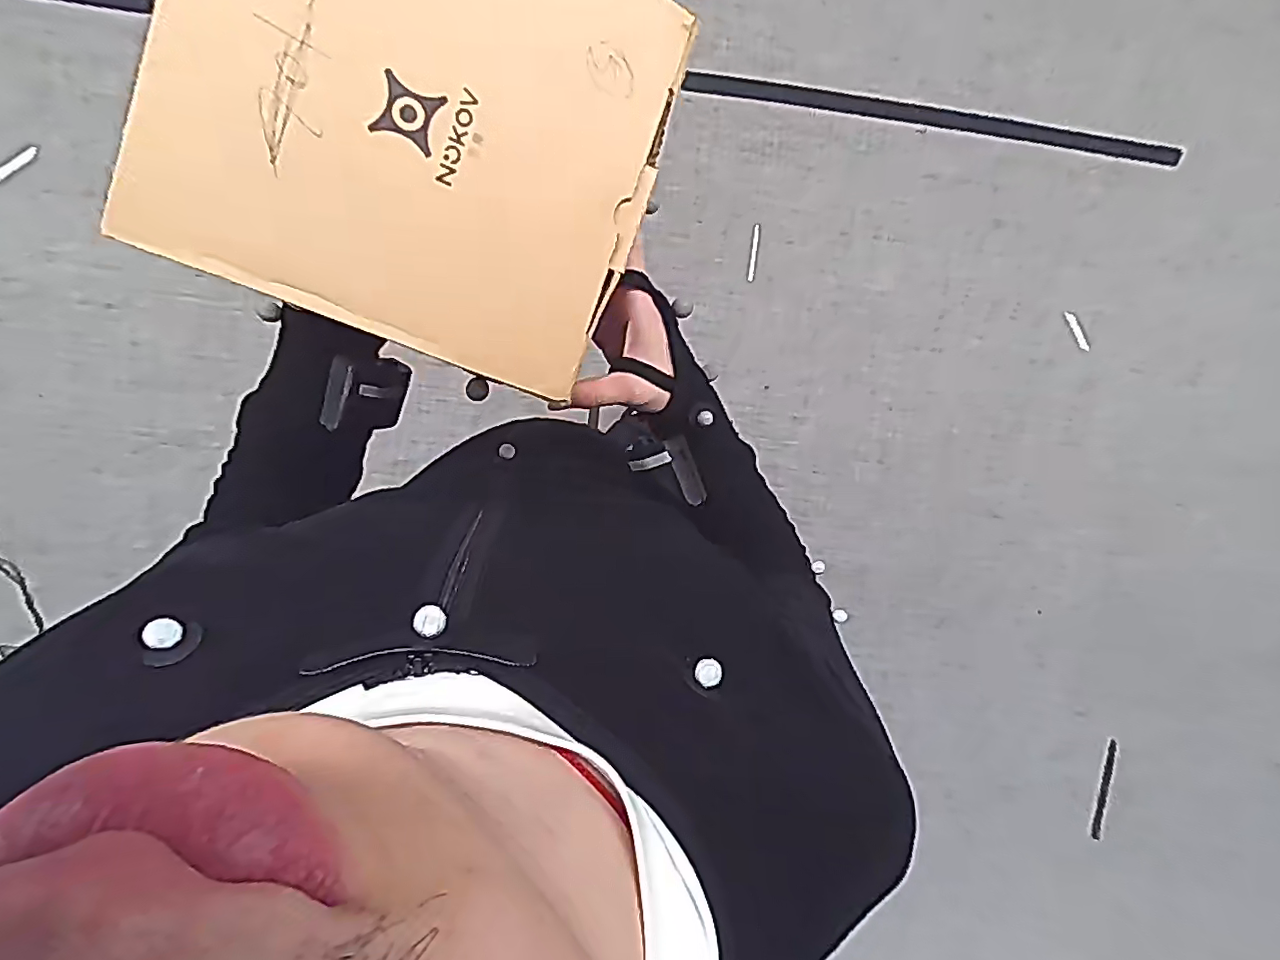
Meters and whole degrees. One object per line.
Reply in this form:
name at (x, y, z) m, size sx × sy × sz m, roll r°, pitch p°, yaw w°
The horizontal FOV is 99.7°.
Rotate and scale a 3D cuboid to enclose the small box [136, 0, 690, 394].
small box at (-0.099, -0.155, 0.293) m, size 0.179 × 0.176 × 0.168 m, roll 19°, pitch 95°, yaw -13°
